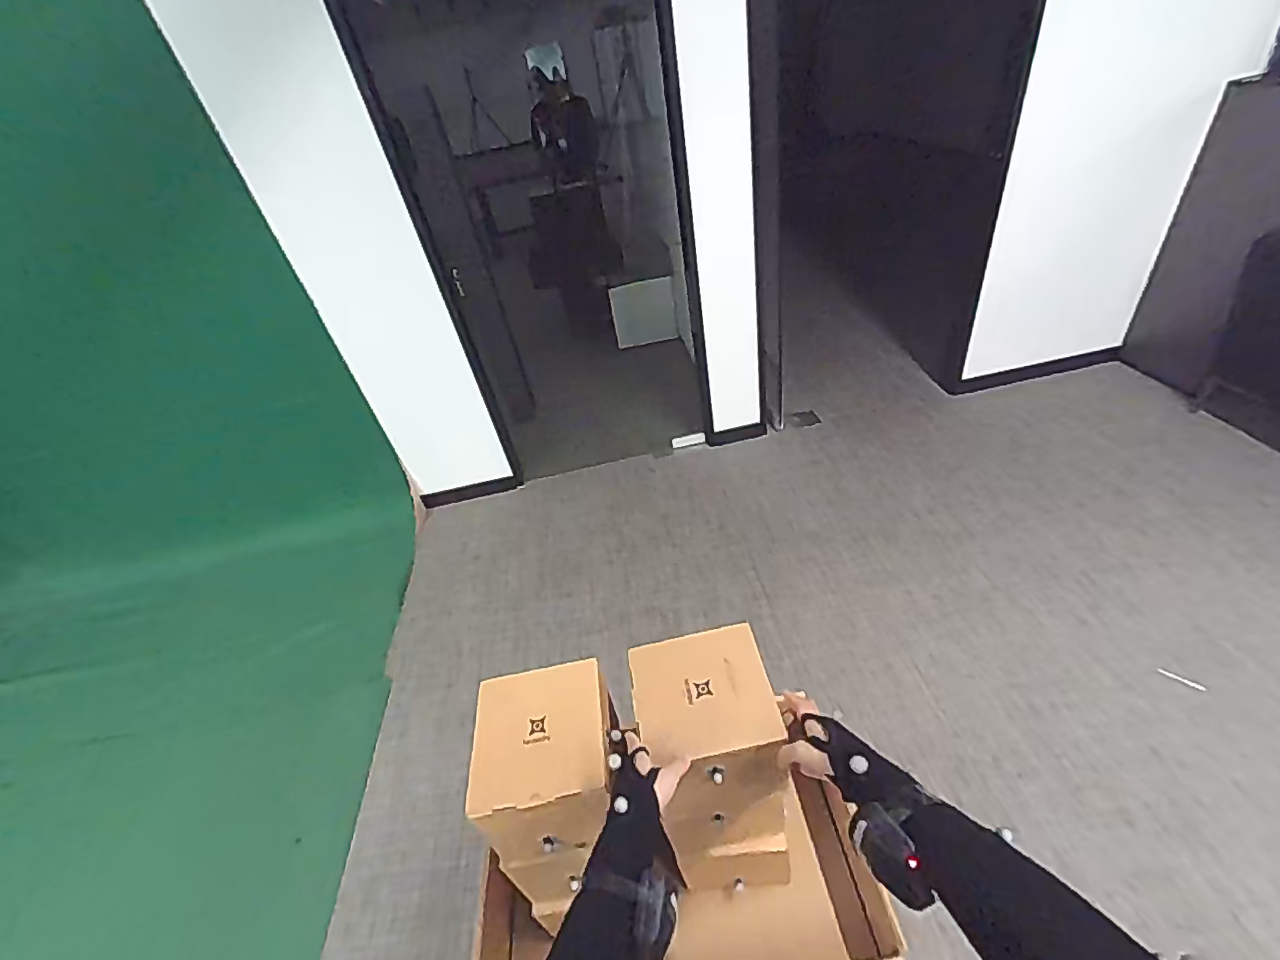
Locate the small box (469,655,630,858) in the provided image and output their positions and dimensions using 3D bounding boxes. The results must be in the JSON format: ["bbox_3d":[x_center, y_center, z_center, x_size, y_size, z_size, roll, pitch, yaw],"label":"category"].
[{"bbox_3d":[-0.114,0.370,0.730,0.168,0.176,0.179,-12,38,0],"label":"small box"}]

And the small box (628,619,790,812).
[{"bbox_3d":[0.093,0.321,0.732,0.179,0.176,0.168,-13,39,2],"label":"small box"}]
